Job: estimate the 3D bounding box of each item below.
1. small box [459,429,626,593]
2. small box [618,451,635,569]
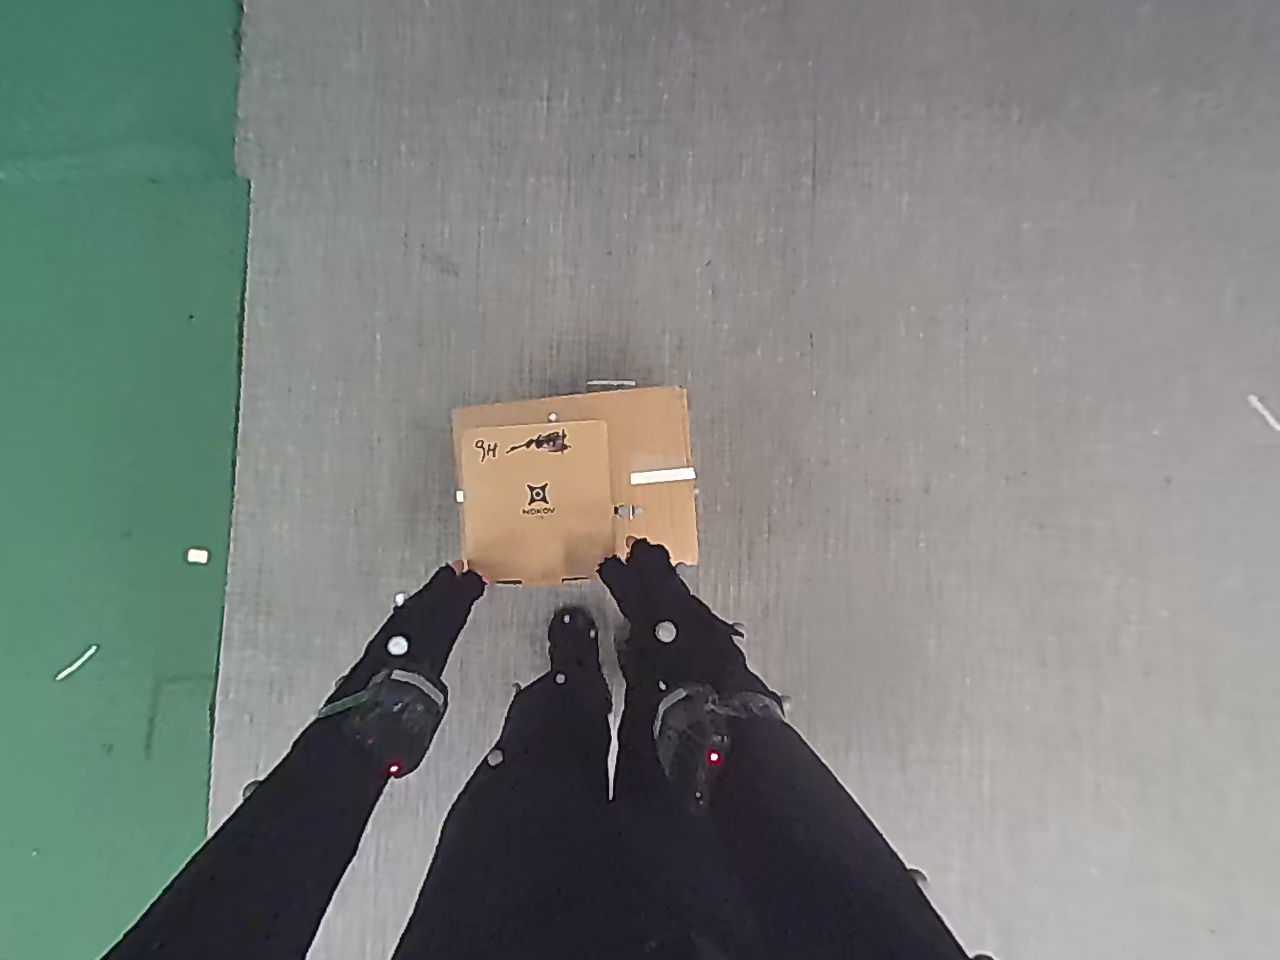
[{"bbox_3d":[-0.109,0.035,0.667,0.168,0.176,0.179,-3,89,3],"label":"small box"},{"bbox_3d":[-0.103,0.048,0.830,0.179,0.176,0.168,-4,88,2],"label":"small box"}]
